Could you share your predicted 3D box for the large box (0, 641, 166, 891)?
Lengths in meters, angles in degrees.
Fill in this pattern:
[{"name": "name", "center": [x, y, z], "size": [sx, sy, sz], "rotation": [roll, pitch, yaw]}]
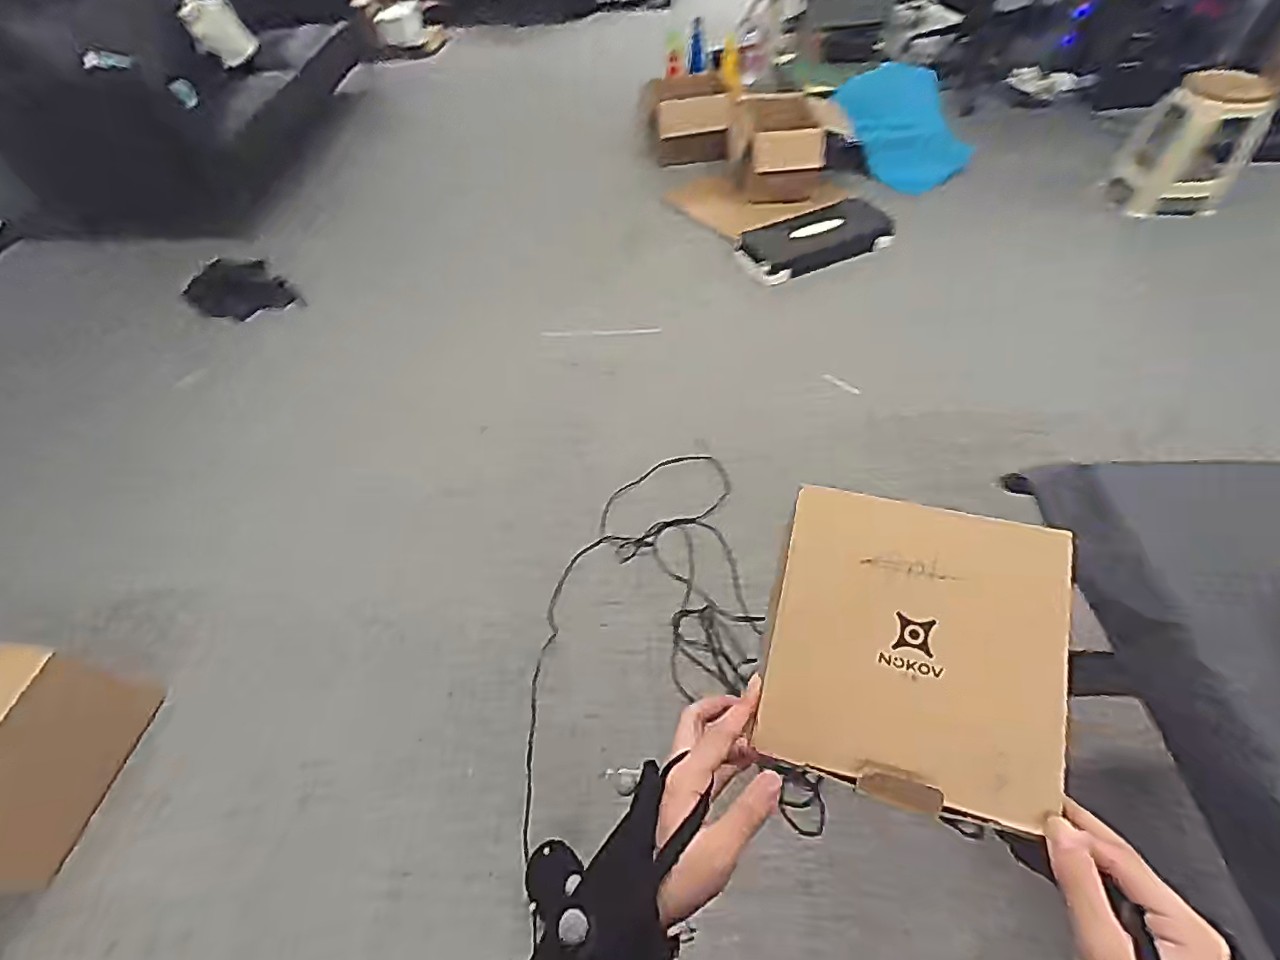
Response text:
[{"name": "large box", "center": [-1.343, 0.584, 1.119], "size": [0.320, 0.320, 0.408], "rotation": [4, 52, 5]}]
